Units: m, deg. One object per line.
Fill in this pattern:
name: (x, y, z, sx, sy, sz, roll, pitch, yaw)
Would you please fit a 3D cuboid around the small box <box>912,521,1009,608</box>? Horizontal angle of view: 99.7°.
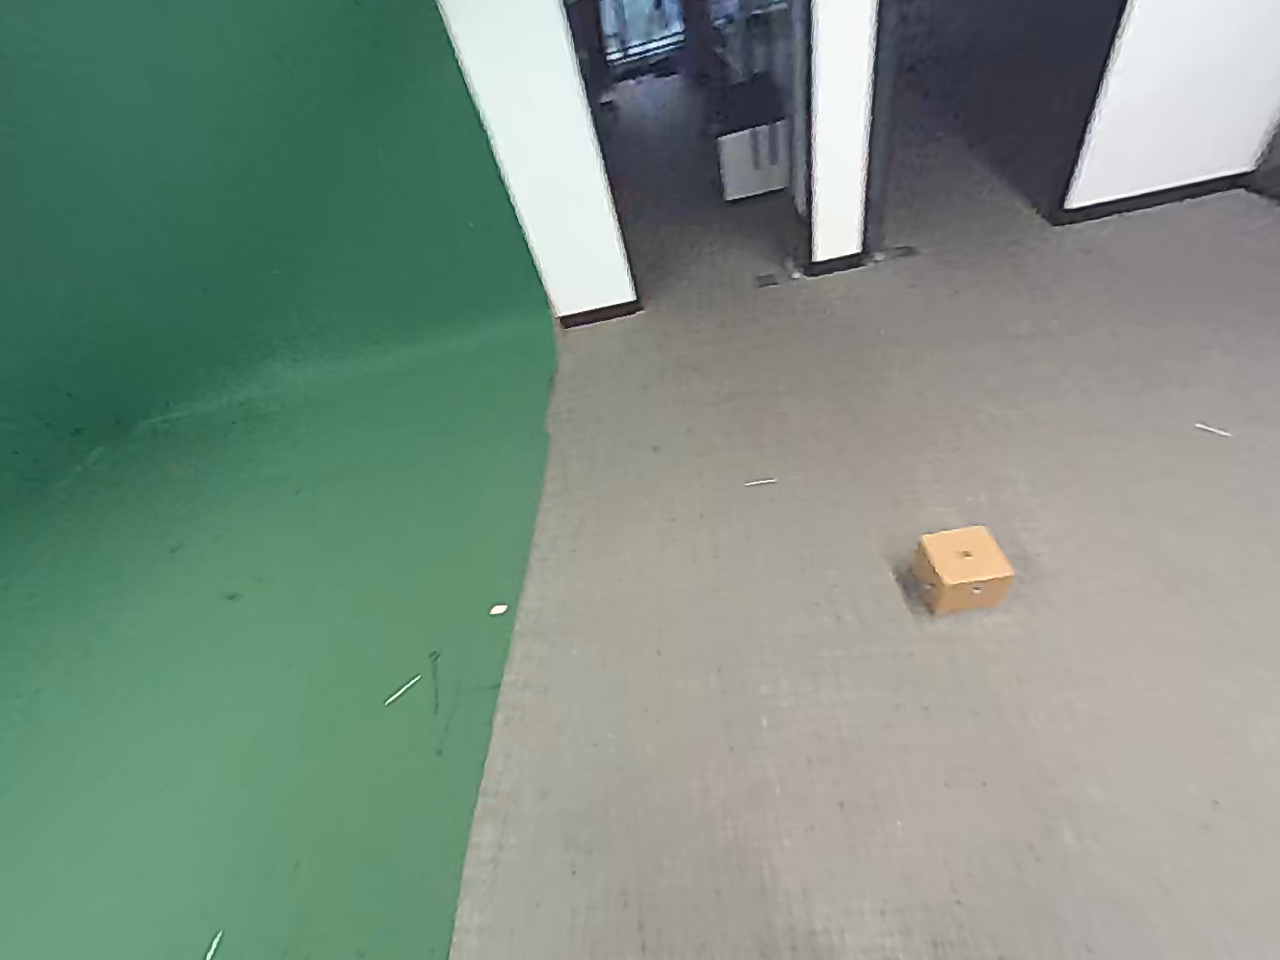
small box: (0.880, 0.240, 1.508, 0.179, 0.176, 0.168, -11, 46, 7)
